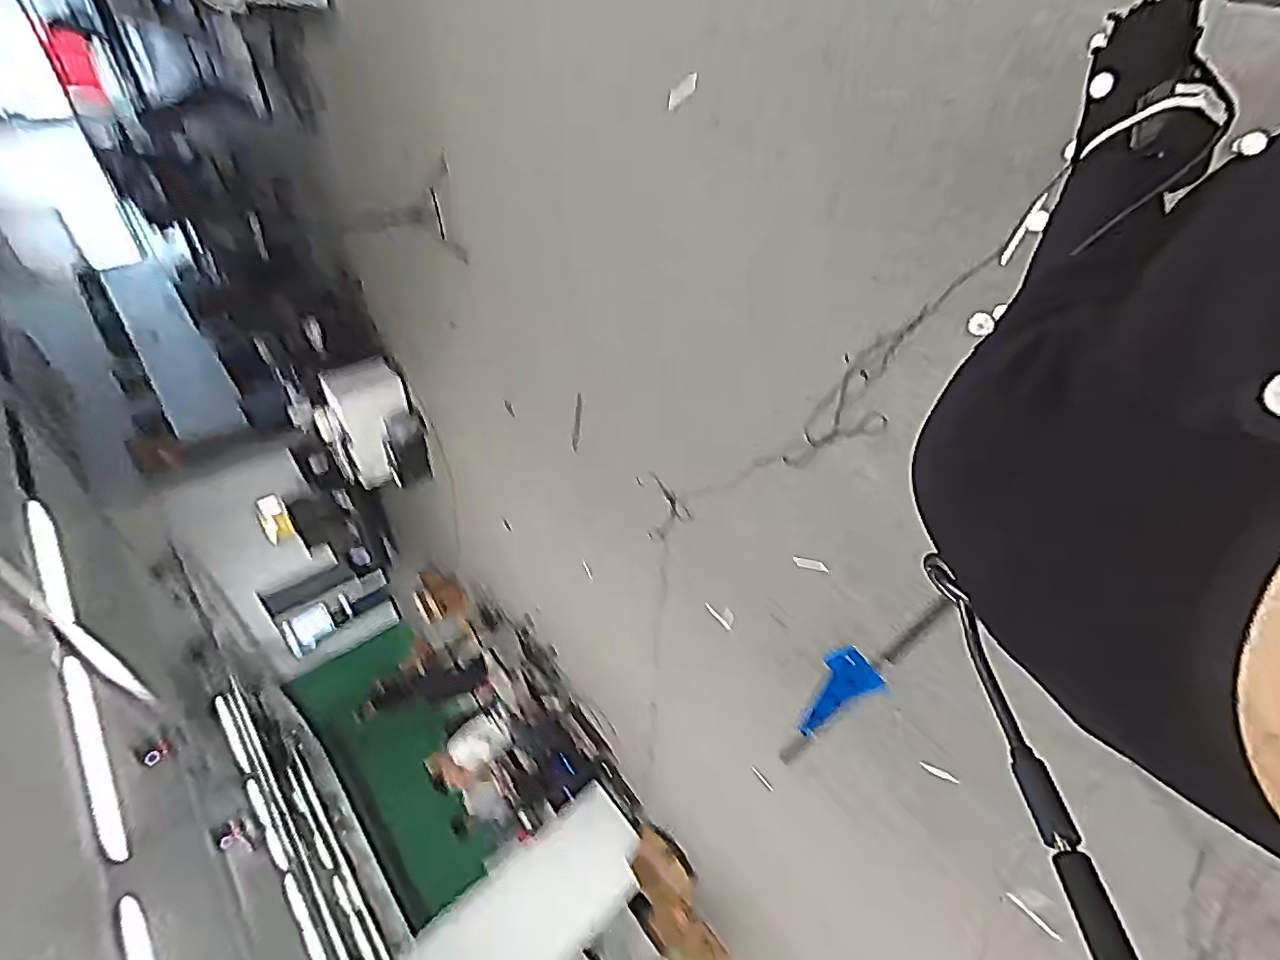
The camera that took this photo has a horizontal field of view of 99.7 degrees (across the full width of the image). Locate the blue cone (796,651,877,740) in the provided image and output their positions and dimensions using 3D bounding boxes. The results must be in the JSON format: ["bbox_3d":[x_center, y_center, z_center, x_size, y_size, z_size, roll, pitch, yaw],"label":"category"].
[{"bbox_3d":[0.700,0.835,2.042,0.192,0.380,0.193,52,145,13],"label":"blue cone"}]
